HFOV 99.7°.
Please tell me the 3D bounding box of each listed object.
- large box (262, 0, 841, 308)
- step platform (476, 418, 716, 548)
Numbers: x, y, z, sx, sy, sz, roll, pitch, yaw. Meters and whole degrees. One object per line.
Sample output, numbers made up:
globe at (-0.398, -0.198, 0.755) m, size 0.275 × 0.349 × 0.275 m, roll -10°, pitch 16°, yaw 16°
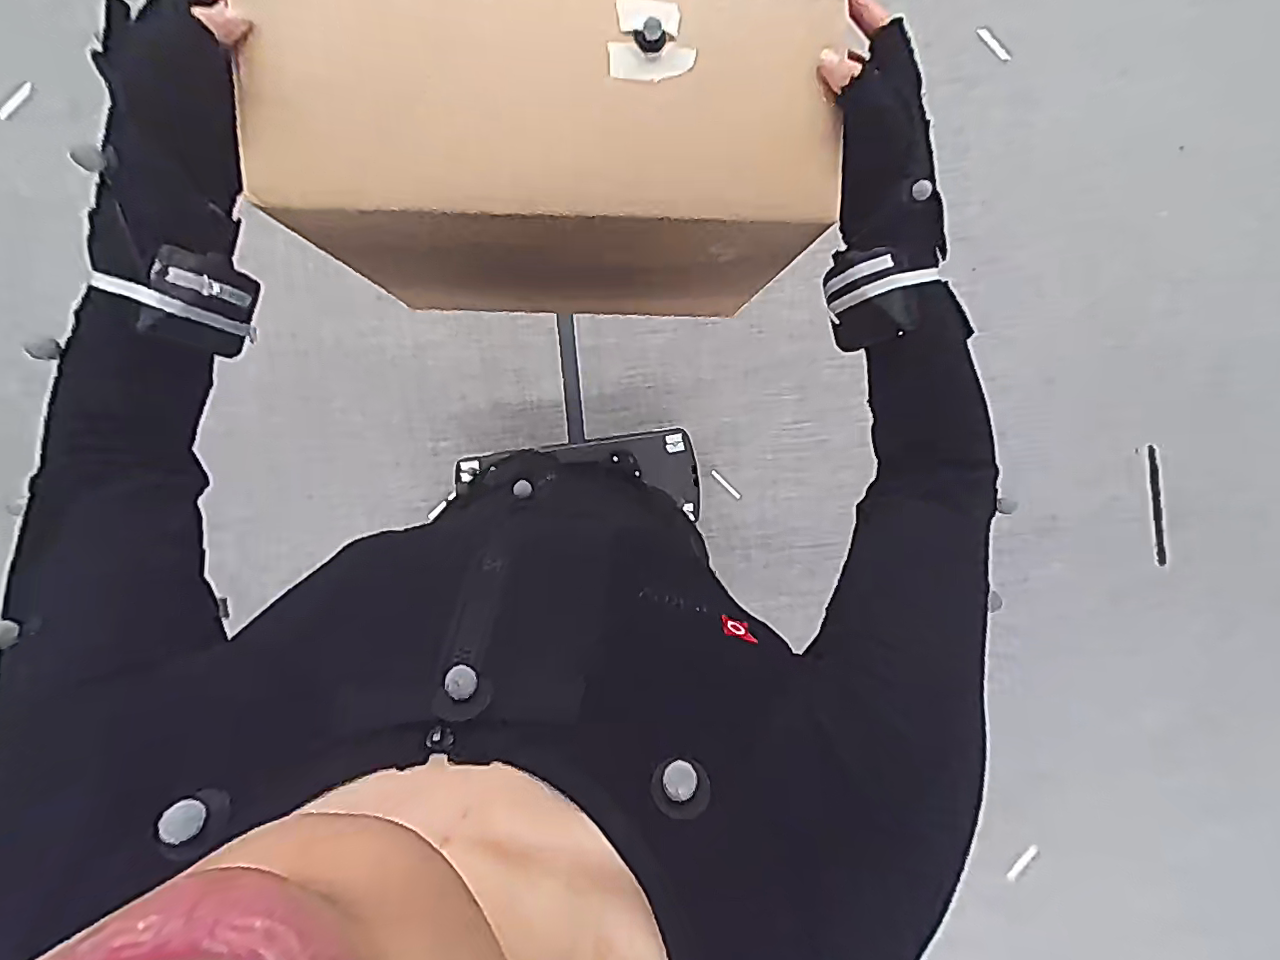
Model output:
large box at (-0.066, -0.357, 0.520) m, size 0.408 × 0.320 × 0.320 m, roll -1°, pitch 96°, yaw -4°
step platform at (-0.124, 0.006, 1.577) m, size 0.684 × 0.204 × 0.286 m, roll -9°, pitch 93°, yaw -3°
